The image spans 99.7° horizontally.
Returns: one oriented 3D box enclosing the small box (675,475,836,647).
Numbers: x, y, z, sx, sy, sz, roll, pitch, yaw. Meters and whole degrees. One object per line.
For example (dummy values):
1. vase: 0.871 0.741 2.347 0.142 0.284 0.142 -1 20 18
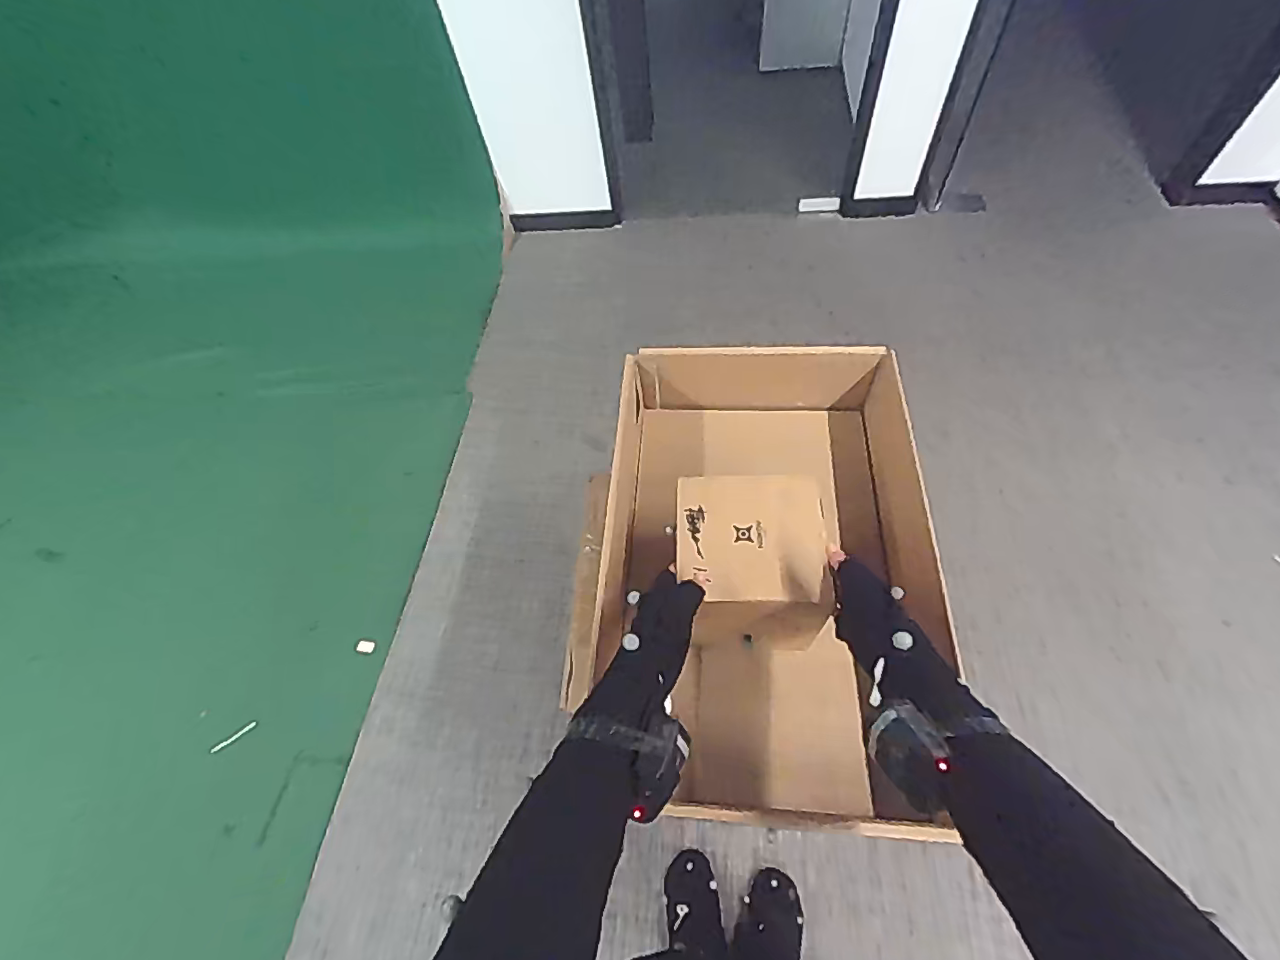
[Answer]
1. small box: 0.135 0.109 0.695 0.179 0.176 0.168 0 56 5
